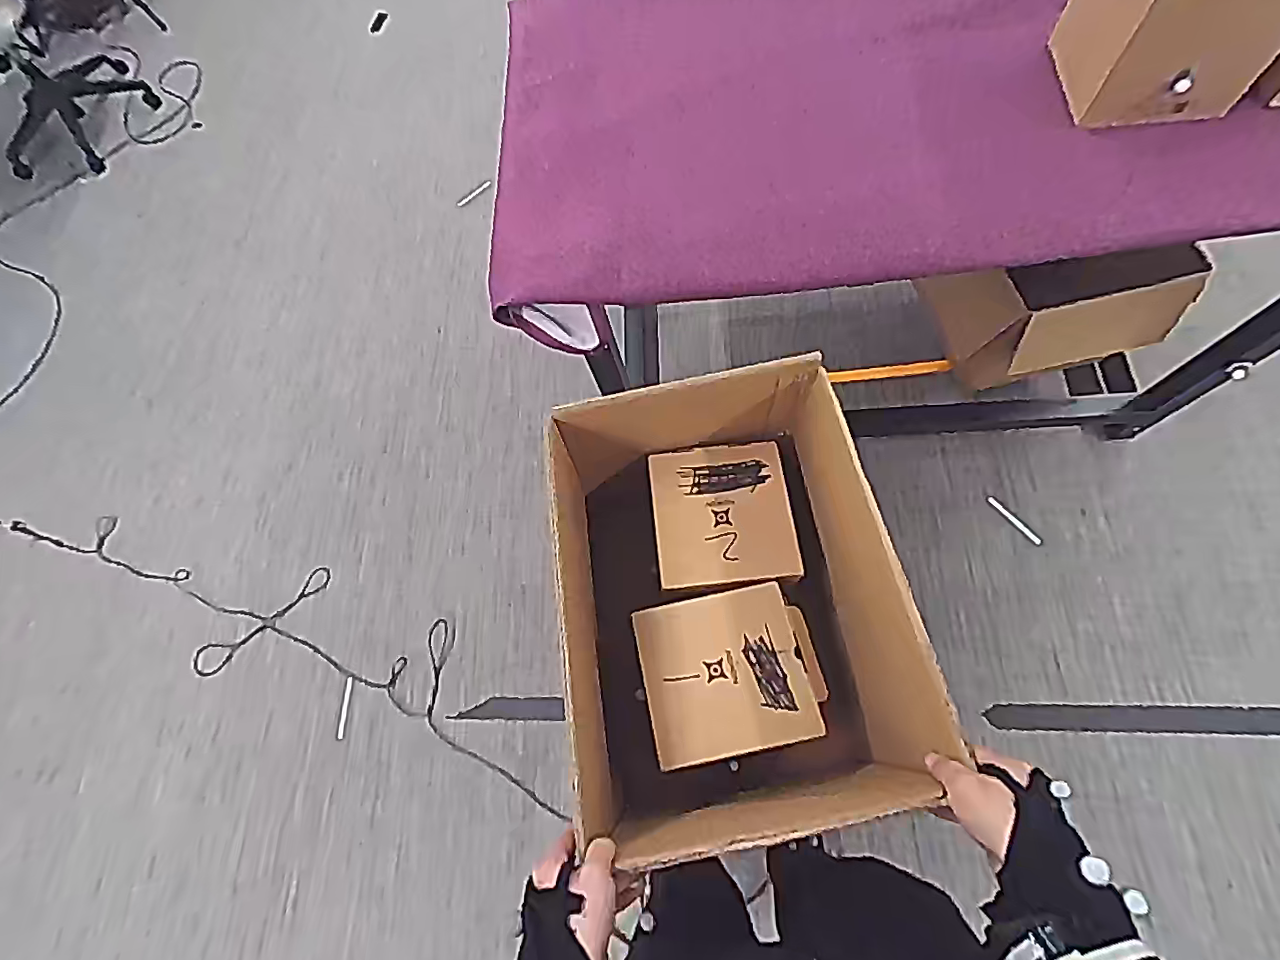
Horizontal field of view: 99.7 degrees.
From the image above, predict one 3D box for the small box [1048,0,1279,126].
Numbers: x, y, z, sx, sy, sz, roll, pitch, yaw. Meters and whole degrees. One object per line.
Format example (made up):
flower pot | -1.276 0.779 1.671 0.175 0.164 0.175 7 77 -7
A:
small box | 0.619 -0.556 0.629 0.168 0.176 0.179 0 69 9
